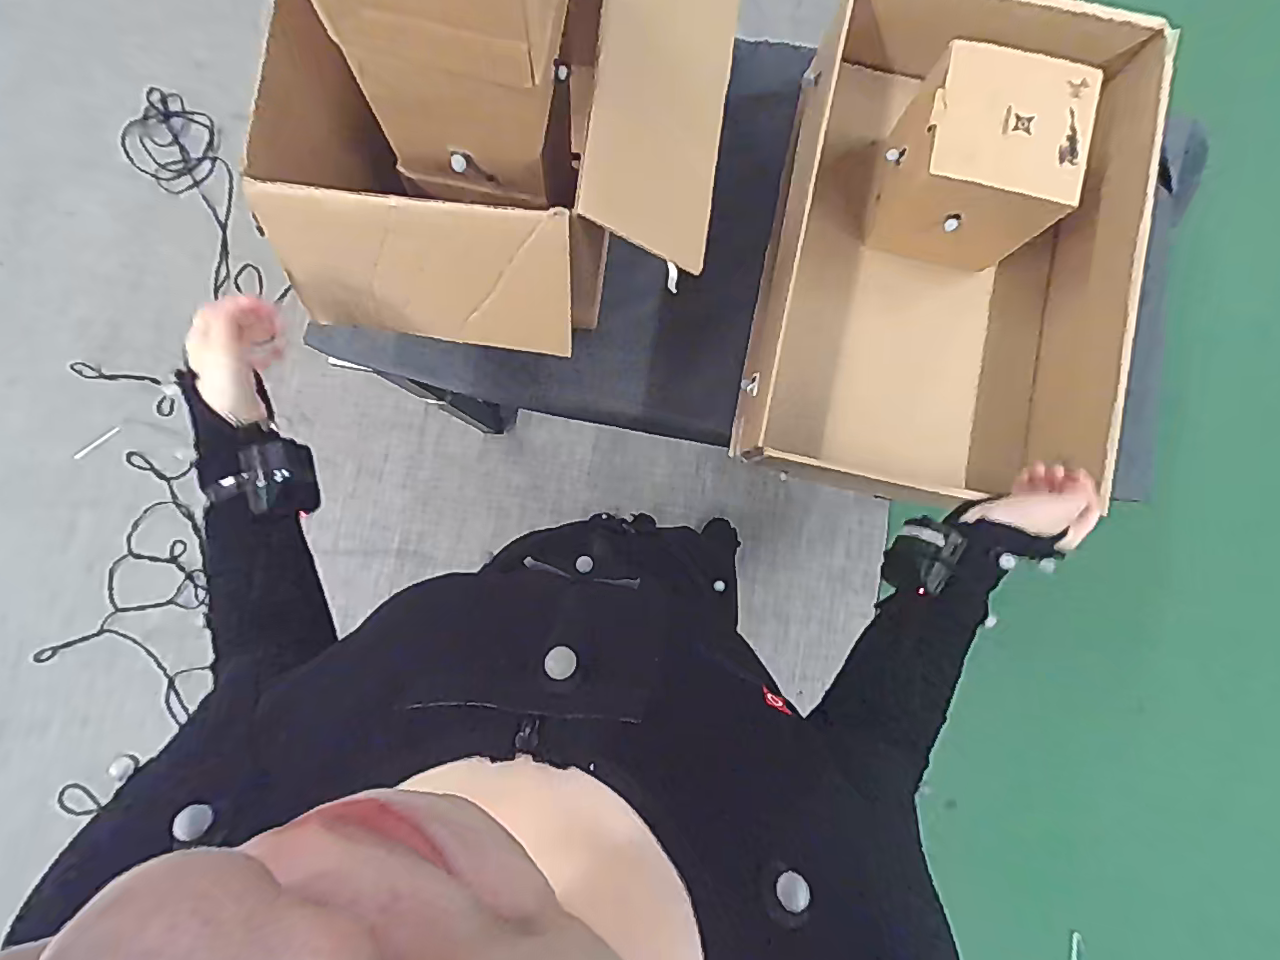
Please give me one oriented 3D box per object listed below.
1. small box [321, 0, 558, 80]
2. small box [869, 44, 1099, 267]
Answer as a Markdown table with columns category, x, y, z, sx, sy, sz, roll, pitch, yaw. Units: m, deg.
| category | x | y | z | sx | sy | sz | roll | pitch | yaw |
| --- | --- | --- | --- | --- | --- | --- | --- | --- | --- |
| small box | -0.150 | -0.435 | 0.385 | 0.179 | 0.176 | 0.168 | 10 | 85 | -5 |
| small box | 0.417 | -0.394 | 0.687 | 0.179 | 0.176 | 0.168 | 13 | 88 | 2 |
